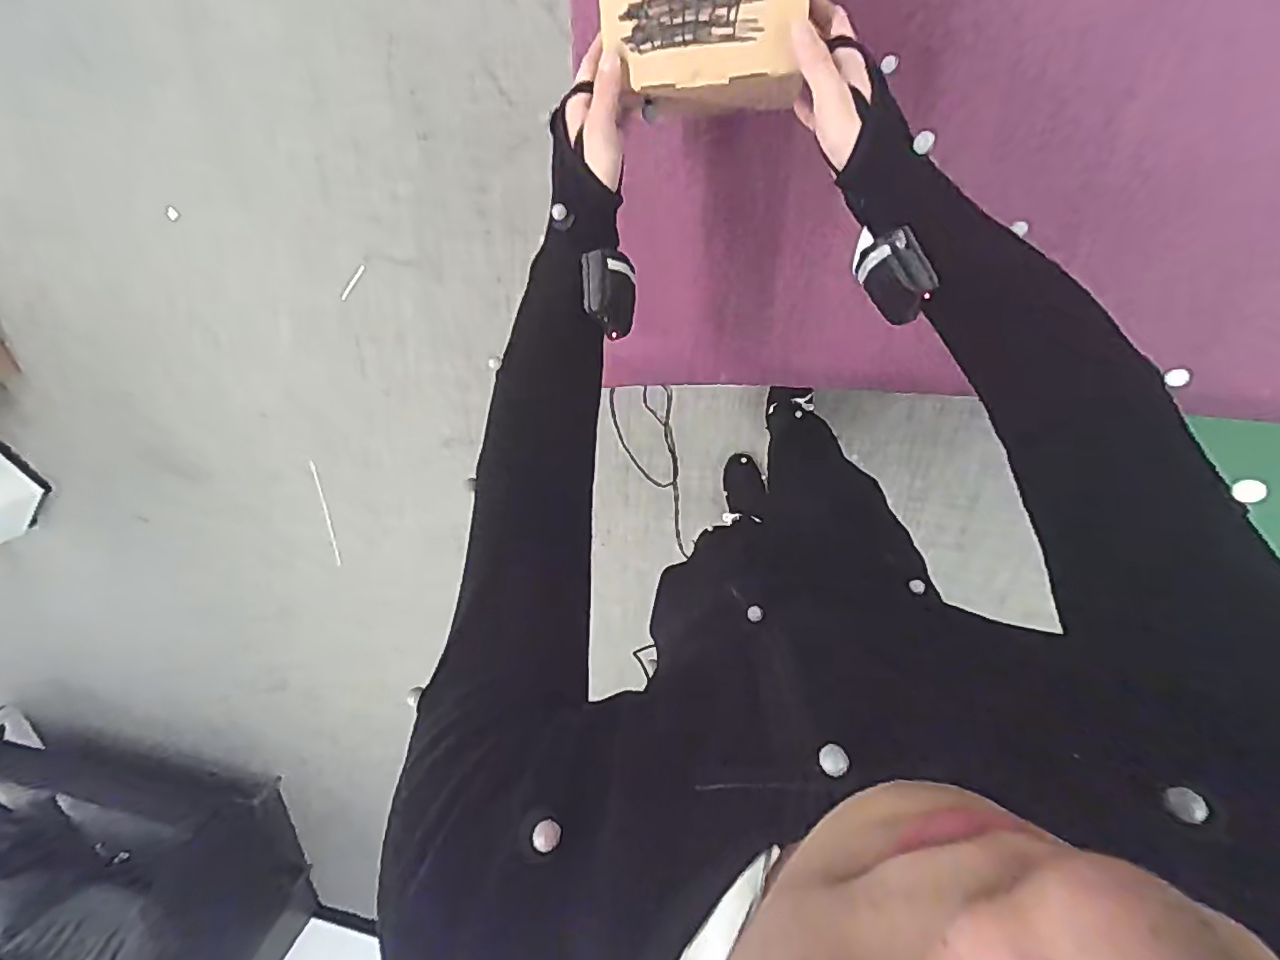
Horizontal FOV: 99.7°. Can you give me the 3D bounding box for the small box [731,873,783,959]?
[{"bbox_3d":[0.431,1.595,1.983,0.168,0.176,0.179,6,116,11],"label":"small box"}]
